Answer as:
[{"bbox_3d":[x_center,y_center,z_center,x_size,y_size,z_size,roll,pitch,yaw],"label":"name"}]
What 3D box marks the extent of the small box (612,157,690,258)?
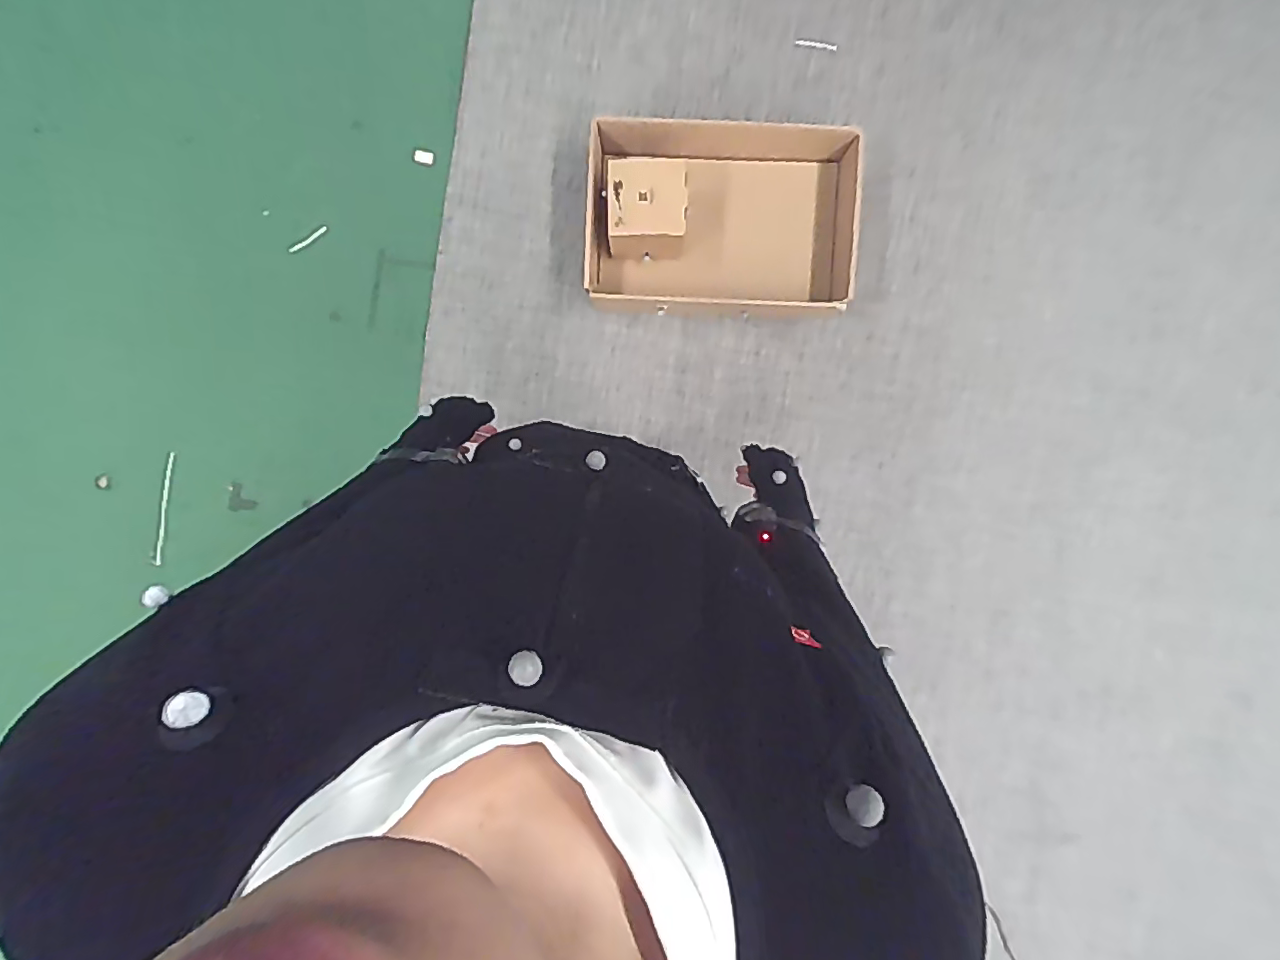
[{"bbox_3d":[0.023,-0.637,1.281,0.179,0.176,0.168,0,94,0],"label":"small box"}]
